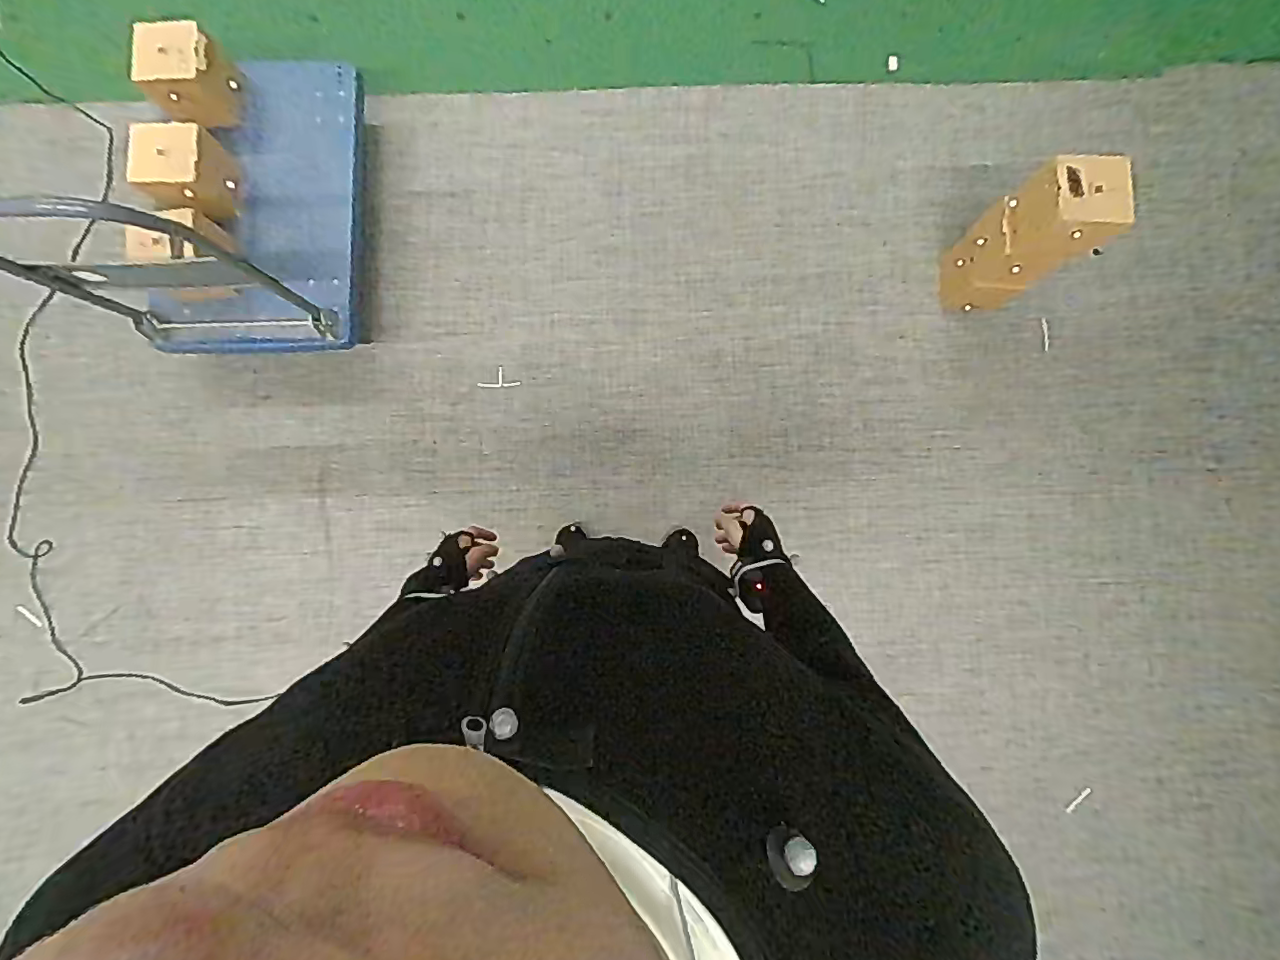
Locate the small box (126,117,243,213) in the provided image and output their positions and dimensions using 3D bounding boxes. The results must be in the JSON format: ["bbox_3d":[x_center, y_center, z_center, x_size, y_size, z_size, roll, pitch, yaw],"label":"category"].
[{"bbox_3d":[-1.233,-0.851,1.473,0.179,0.176,0.168,0,85,-2],"label":"small box"}]

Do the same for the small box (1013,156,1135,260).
[{"bbox_3d":[1.053,-0.660,1.328,0.179,0.176,0.168,2,84,0],"label":"small box"}]

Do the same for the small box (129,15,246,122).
[{"bbox_3d":[-1.240,-1.126,1.491,0.179,0.176,0.168,5,88,-1],"label":"small box"}]

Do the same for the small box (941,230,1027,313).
[{"bbox_3d":[1.048,-0.634,1.655,0.168,0.176,0.179,4,85,1],"label":"small box"}]

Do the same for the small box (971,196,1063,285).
[{"bbox_3d":[1.045,-0.654,1.493,0.179,0.176,0.168,3,85,1],"label":"small box"}]
